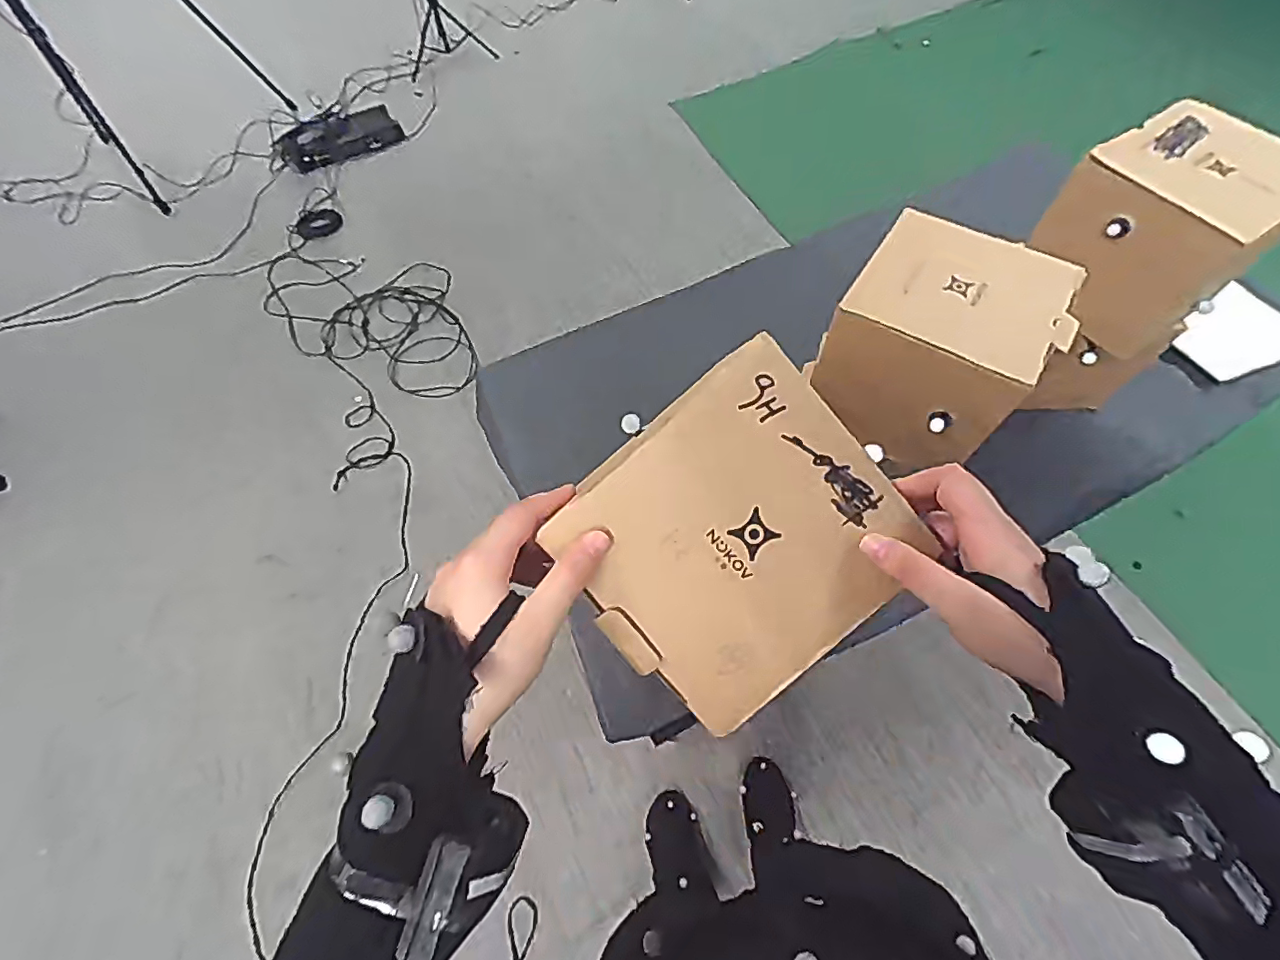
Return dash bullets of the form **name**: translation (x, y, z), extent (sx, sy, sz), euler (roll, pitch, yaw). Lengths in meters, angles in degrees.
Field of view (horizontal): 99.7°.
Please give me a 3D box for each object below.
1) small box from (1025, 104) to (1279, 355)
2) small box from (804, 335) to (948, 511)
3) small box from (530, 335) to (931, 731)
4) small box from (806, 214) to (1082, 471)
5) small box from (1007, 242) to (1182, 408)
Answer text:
- **small box**: translation (0.585, -0.280, 0.620), extent (0.168, 0.176, 0.179), euler (-31, 65, -10)
- **small box**: translation (0.288, -0.057, 0.711), extent (0.179, 0.176, 0.168), euler (19, 65, 13)
- **small box**: translation (0.052, 0.028, 0.389), extent (0.179, 0.176, 0.168), euler (-41, 94, 2)
- **small box**: translation (0.297, -0.133, 0.566), extent (0.179, 0.176, 0.168), euler (30, 67, 18)
- **small box**: translation (0.587, -0.215, 0.773), extent (0.179, 0.176, 0.168), euler (0, 63, 5)
